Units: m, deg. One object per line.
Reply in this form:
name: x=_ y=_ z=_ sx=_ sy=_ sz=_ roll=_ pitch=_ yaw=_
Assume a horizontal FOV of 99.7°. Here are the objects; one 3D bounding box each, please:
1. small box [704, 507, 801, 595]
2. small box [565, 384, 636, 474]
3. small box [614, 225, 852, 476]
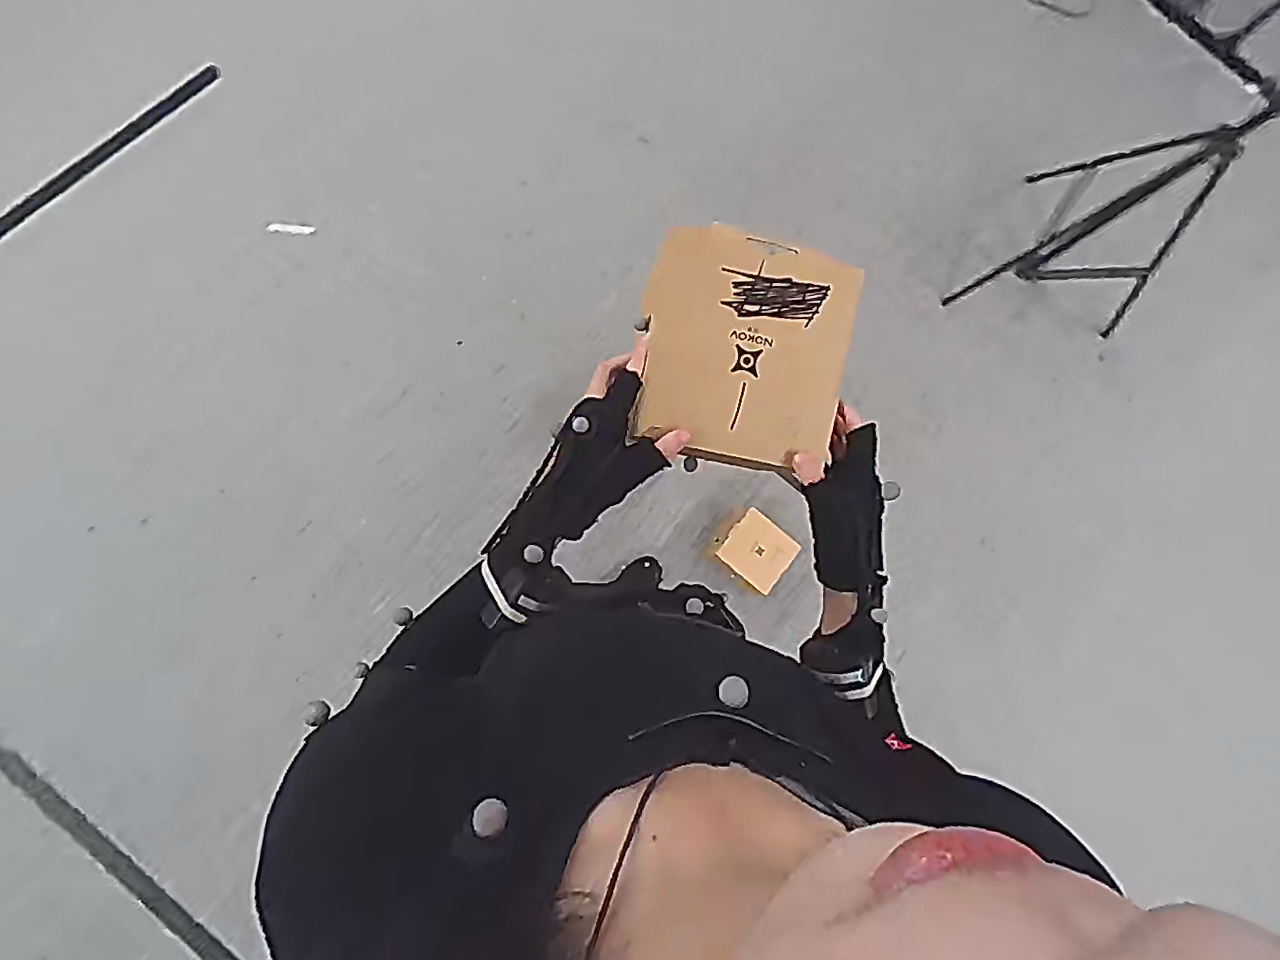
small box: x=0.302 y=0.197 z=1.497 sx=0.179 sy=0.176 sz=0.168 roll=40 pitch=81 yaw=0
small box: x=-0.089 y=-0.133 z=1.504 sx=0.179 sy=0.176 sz=0.168 roll=40 pitch=79 yaw=1
small box: x=0.072 y=-0.107 z=0.518 sx=0.168 sy=0.176 sz=0.179 roll=11 pitch=92 yaw=-7
